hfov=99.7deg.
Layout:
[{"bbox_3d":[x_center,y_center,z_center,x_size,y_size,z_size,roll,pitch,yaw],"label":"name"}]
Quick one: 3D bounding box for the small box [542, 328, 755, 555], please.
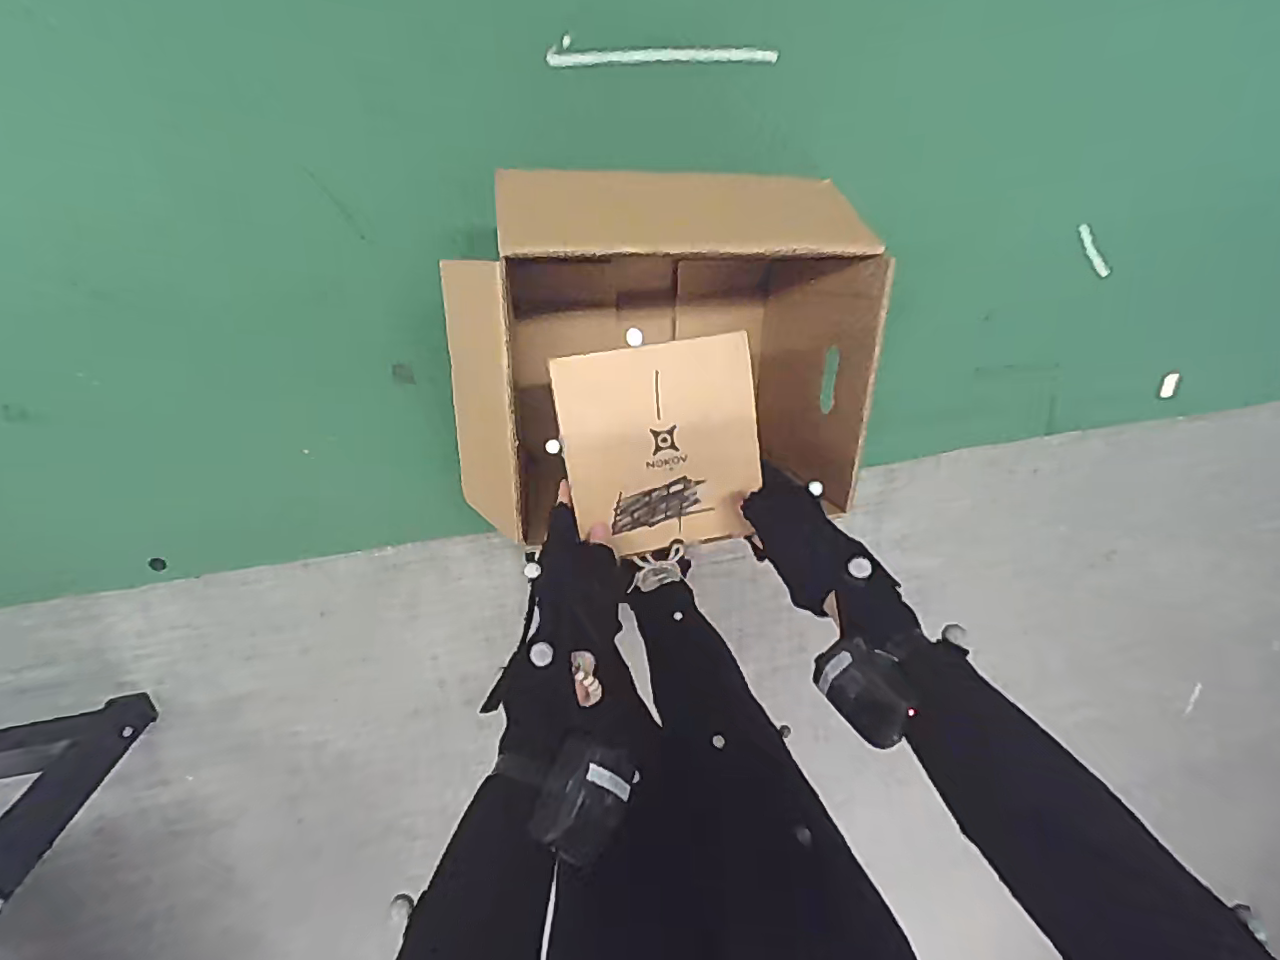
[{"bbox_3d":[0.001,-0.047,0.535,0.168,0.176,0.179,-10,102,-7],"label":"small box"}]
